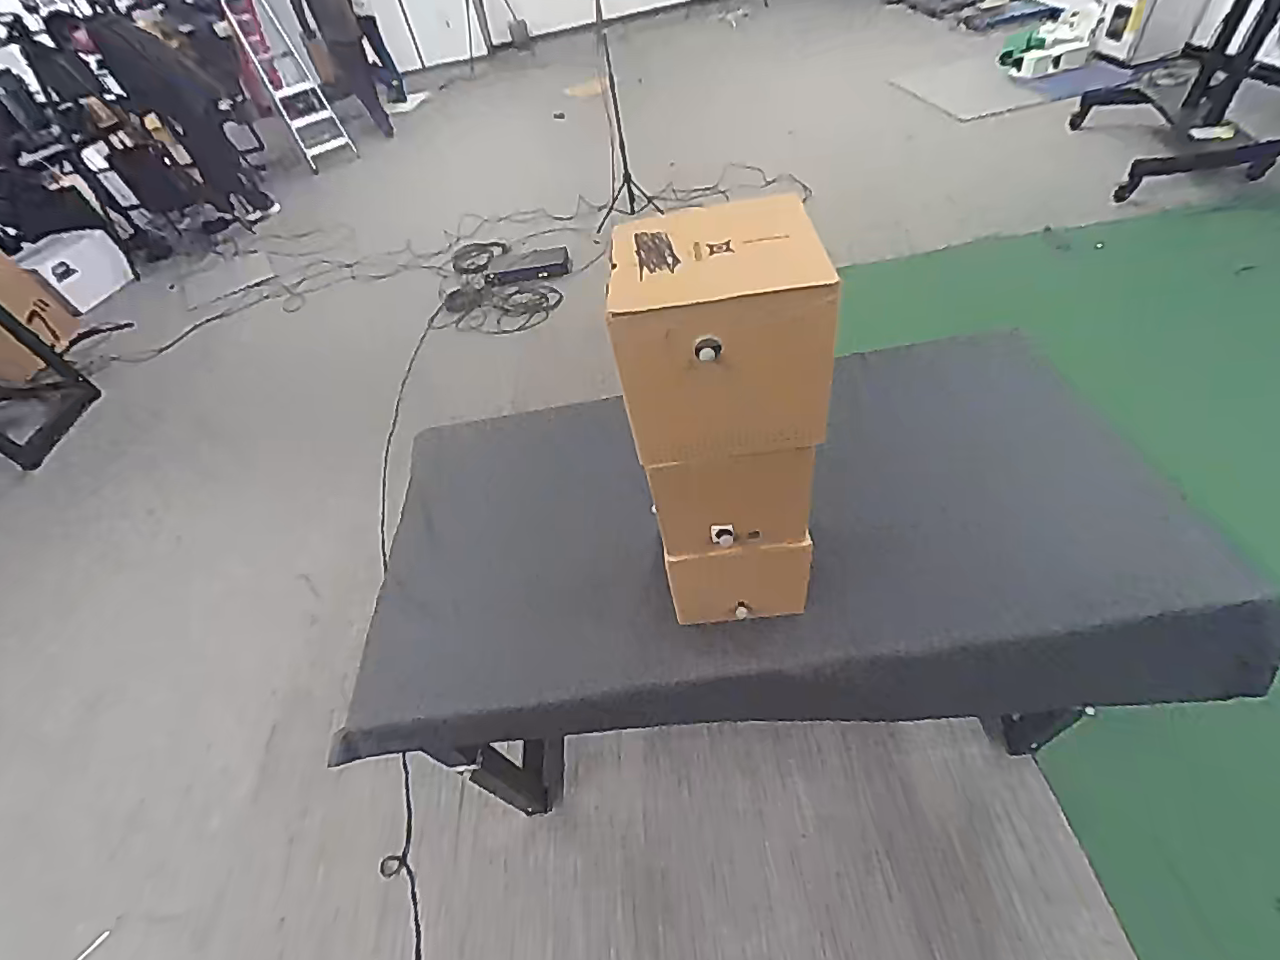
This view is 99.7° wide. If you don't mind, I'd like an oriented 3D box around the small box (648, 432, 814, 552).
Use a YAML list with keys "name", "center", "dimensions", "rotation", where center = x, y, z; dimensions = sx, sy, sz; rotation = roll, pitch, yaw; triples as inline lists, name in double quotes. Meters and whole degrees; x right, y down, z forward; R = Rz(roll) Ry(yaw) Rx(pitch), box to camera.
- name: "small box"
  center: [0.099, -0.038, 0.644]
  dimensions: [0.168, 0.176, 0.179]
  rotation: [-9, 49, 6]

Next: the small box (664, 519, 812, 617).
- name: "small box"
  center: [0.127, 0.076, 0.757]
  dimensions: [0.179, 0.176, 0.168]
  rotation: [-7, 48, 5]

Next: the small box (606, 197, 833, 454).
- name: "small box"
  center: [0.073, -0.140, 0.518]
  dimensions: [0.179, 0.176, 0.168]
  rotation: [-6, 48, 7]
